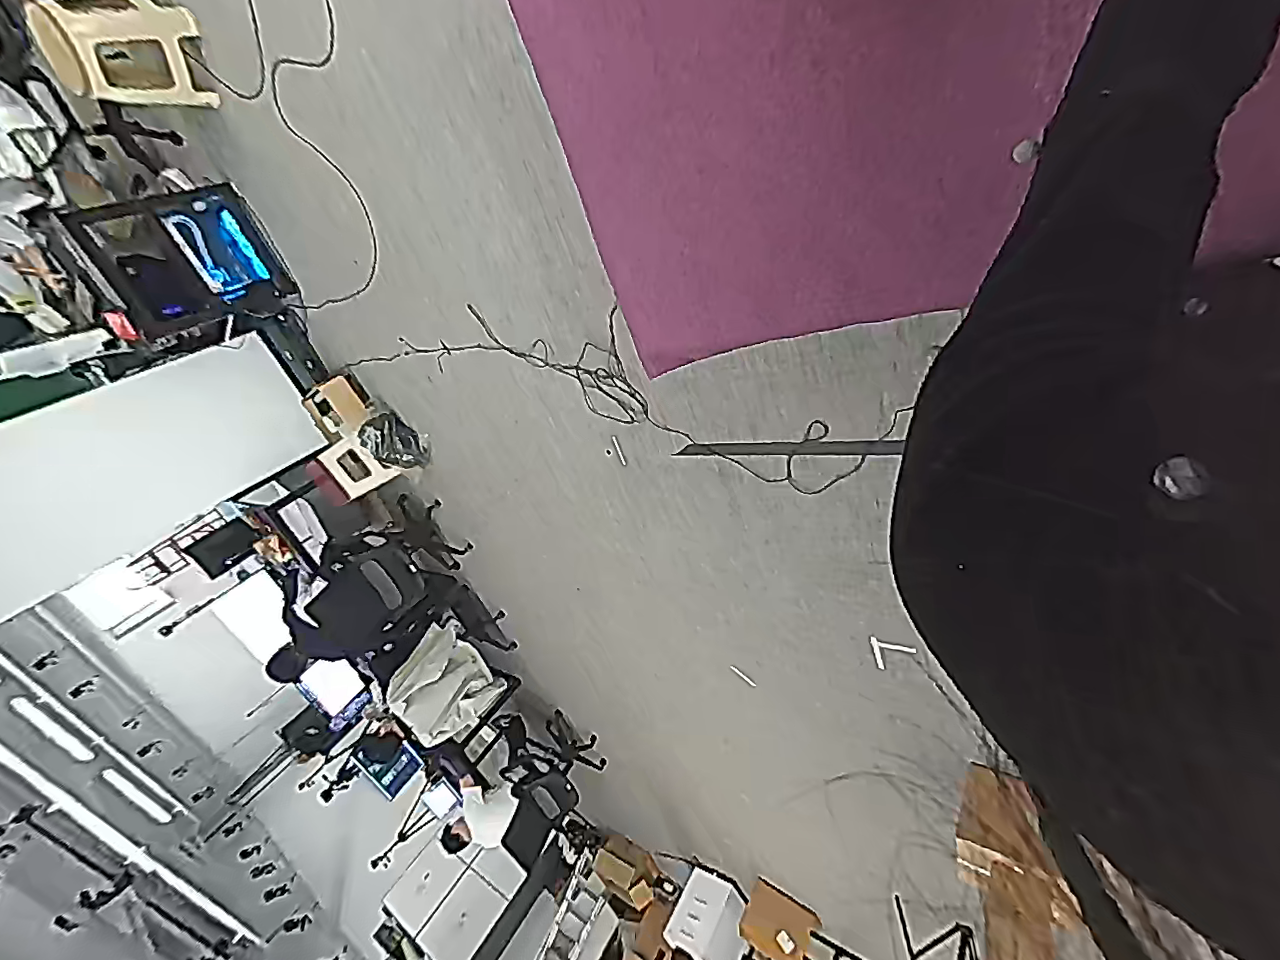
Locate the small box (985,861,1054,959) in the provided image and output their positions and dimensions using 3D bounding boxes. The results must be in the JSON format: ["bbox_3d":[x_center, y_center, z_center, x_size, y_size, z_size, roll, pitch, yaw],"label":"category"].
[{"bbox_3d":[1.276,1.430,1.811,0.179,0.176,0.168,1,123,41],"label":"small box"}]
